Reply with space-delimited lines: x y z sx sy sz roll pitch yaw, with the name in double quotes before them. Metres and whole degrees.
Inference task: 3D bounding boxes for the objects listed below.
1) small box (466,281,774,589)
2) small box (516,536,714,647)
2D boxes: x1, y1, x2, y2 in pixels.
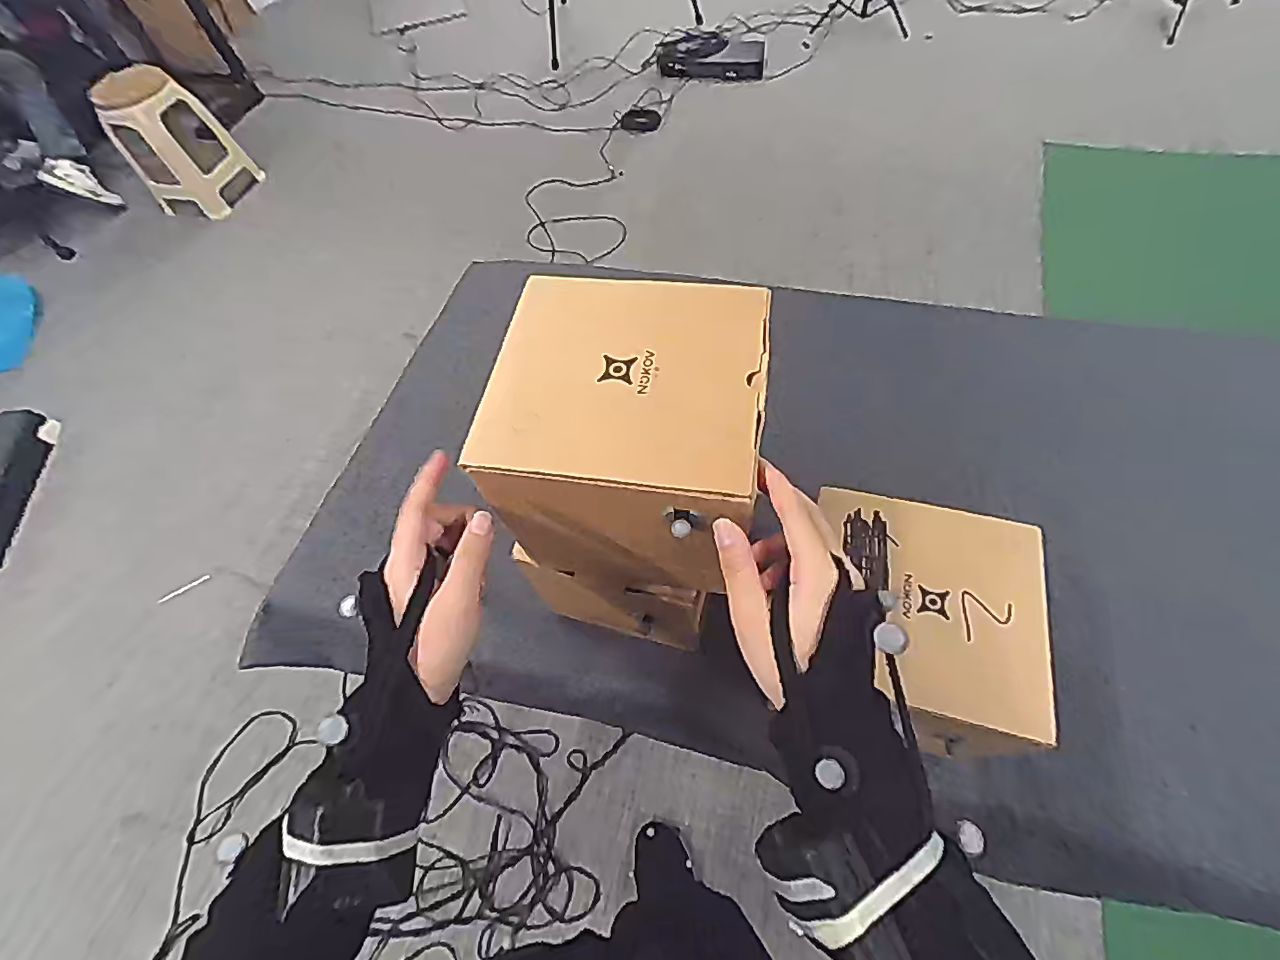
"small box" 0.001 -0.027 0.414 0.179 0.176 0.168 6 60 9
"small box" 0.001 0.054 0.556 0.168 0.176 0.179 12 61 12
